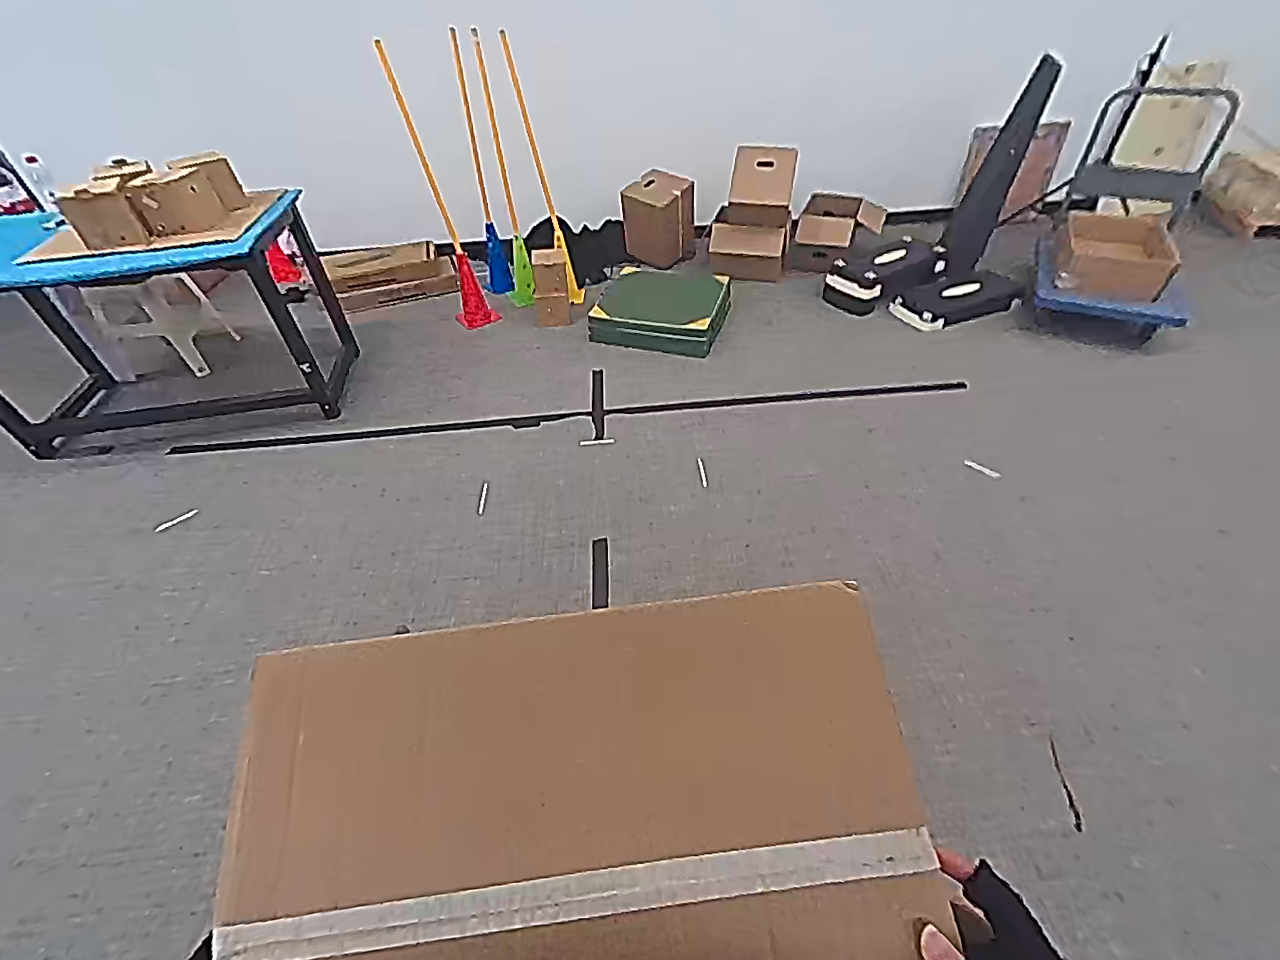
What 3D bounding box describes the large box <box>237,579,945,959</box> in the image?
[{"bbox_3d":[-0.032,0.293,0.455,0.408,0.320,0.320,-7,68,-1],"label":"large box"}]
